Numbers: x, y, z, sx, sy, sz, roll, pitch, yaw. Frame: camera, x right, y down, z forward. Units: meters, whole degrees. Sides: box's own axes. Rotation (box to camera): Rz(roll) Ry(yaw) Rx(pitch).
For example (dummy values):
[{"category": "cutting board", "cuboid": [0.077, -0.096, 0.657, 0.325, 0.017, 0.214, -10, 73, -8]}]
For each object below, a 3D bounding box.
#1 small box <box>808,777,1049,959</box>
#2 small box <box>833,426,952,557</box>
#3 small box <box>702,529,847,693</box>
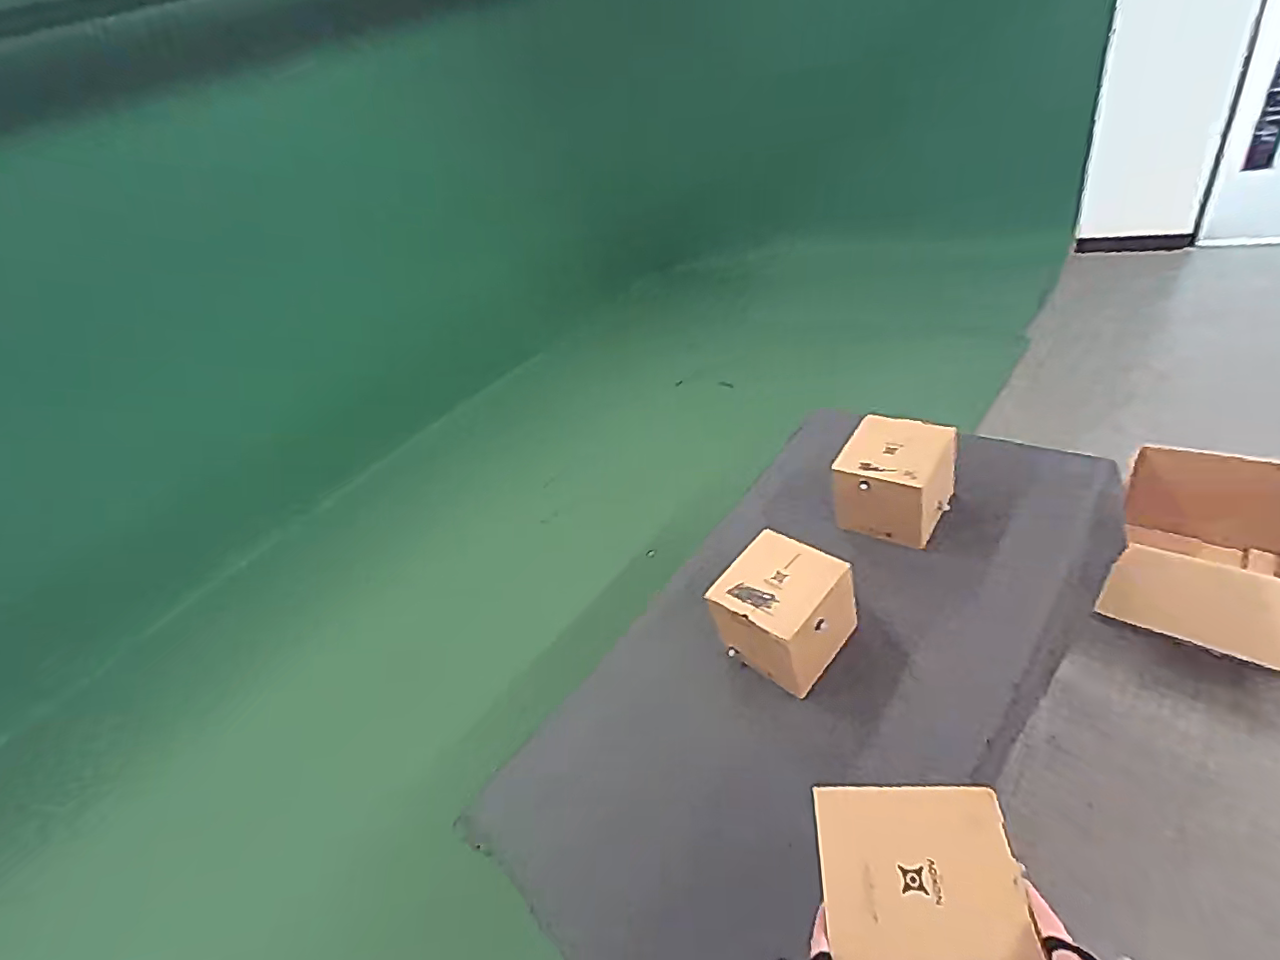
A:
[{"category": "small box", "cuboid": [0.275, 0.417, 0.535, 0.179, 0.176, 0.168, -12, 35, 20]}, {"category": "small box", "cuboid": [0.499, 0.020, 1.073, 0.168, 0.176, 0.179, 16, 51, 37]}, {"category": "small box", "cuboid": [0.236, 0.222, 0.918, 0.179, 0.176, 0.168, -39, 42, -21]}]
